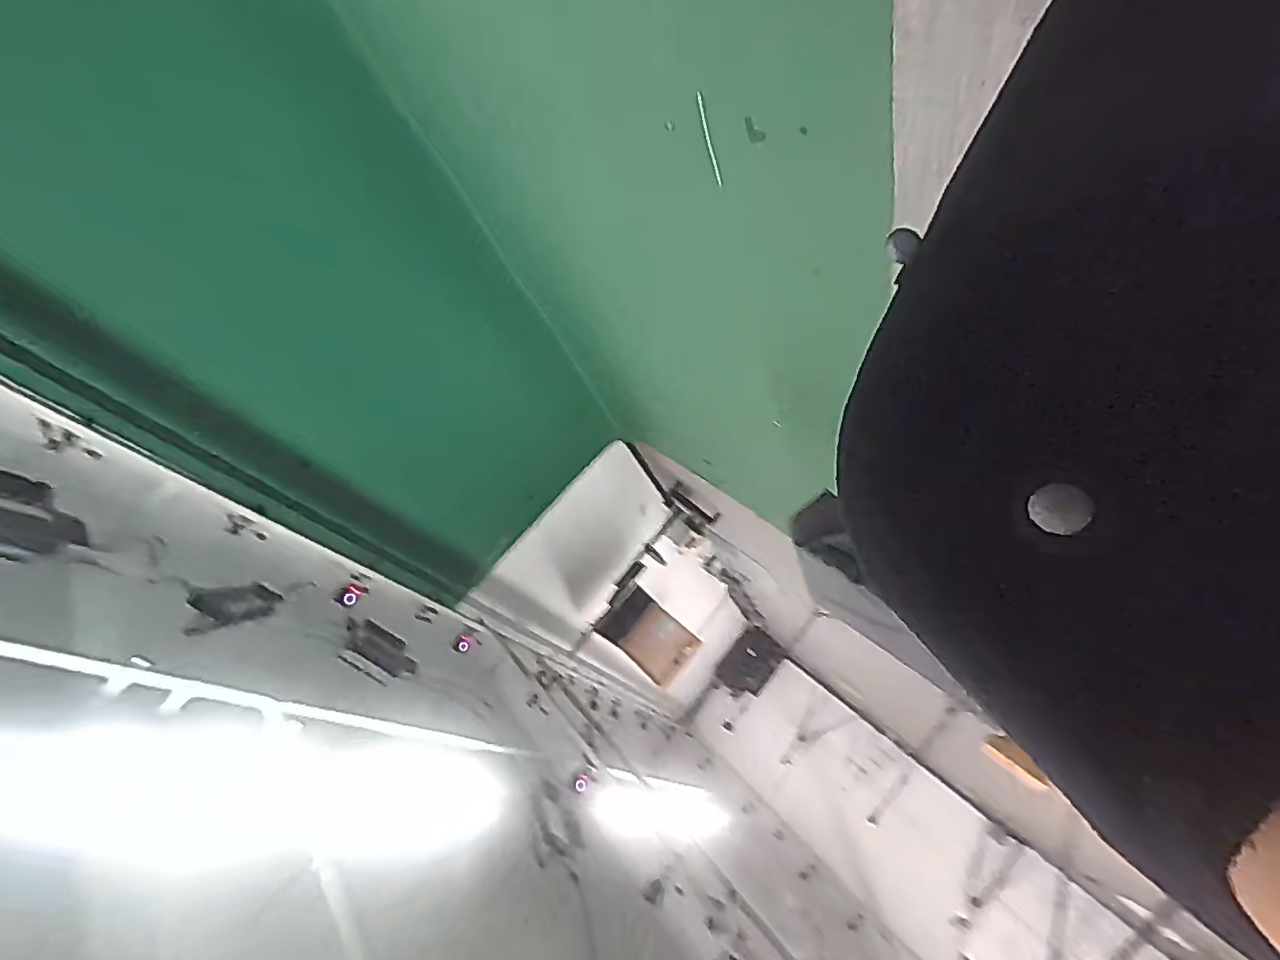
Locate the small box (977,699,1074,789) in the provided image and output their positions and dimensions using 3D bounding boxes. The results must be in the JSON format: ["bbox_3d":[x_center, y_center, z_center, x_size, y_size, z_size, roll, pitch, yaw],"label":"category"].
[{"bbox_3d":[1.173,0.804,1.650,0.179,0.176,0.168,36,169,38],"label":"small box"}]
